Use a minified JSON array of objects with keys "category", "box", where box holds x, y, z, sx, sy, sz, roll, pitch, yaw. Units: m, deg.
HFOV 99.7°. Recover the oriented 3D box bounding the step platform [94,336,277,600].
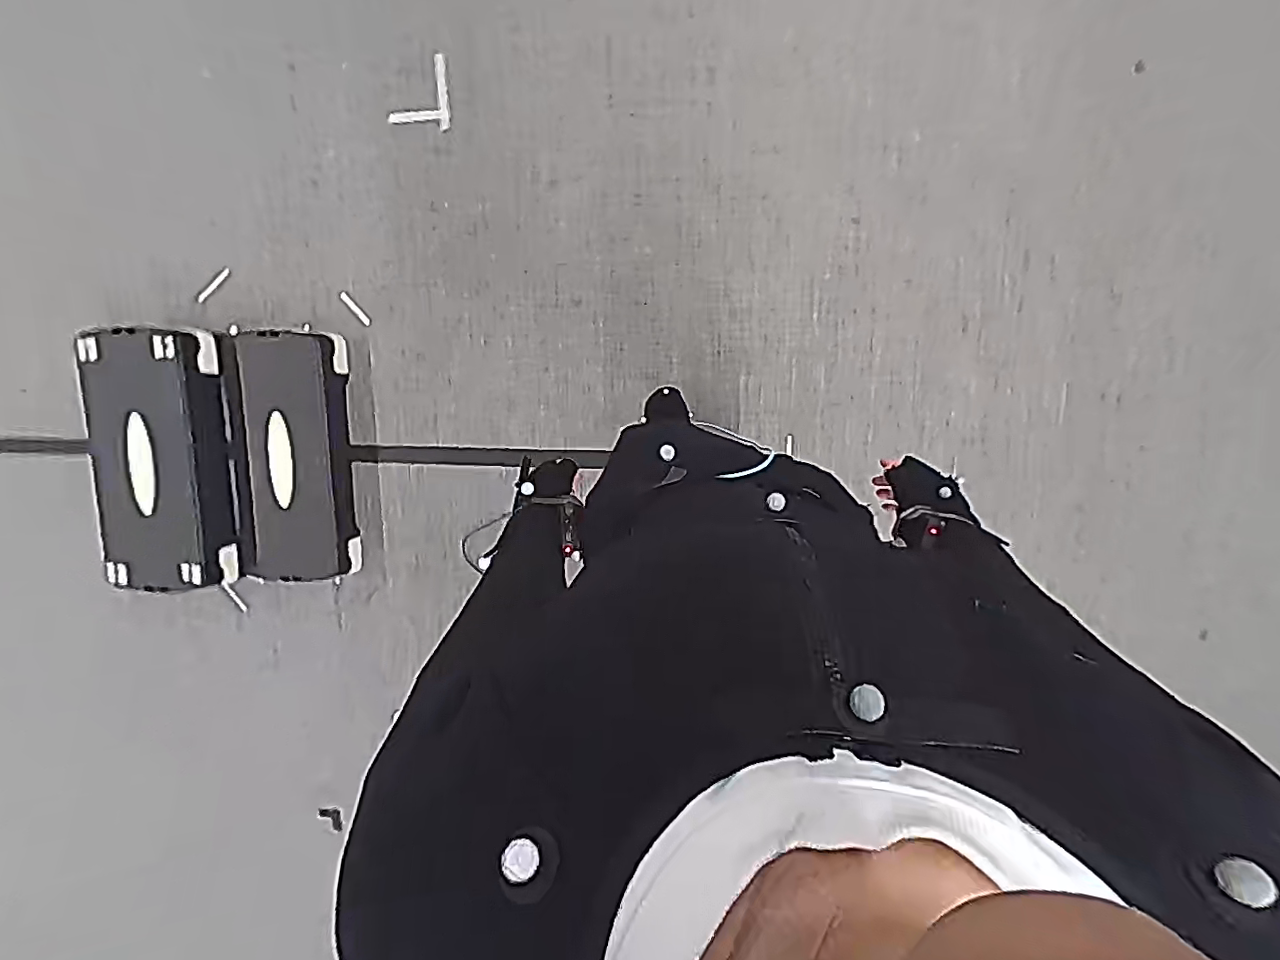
[{"category":"step platform","box":[-1.192,-0.029,1.432,0.286,0.204,0.684,0,96,3]}]
